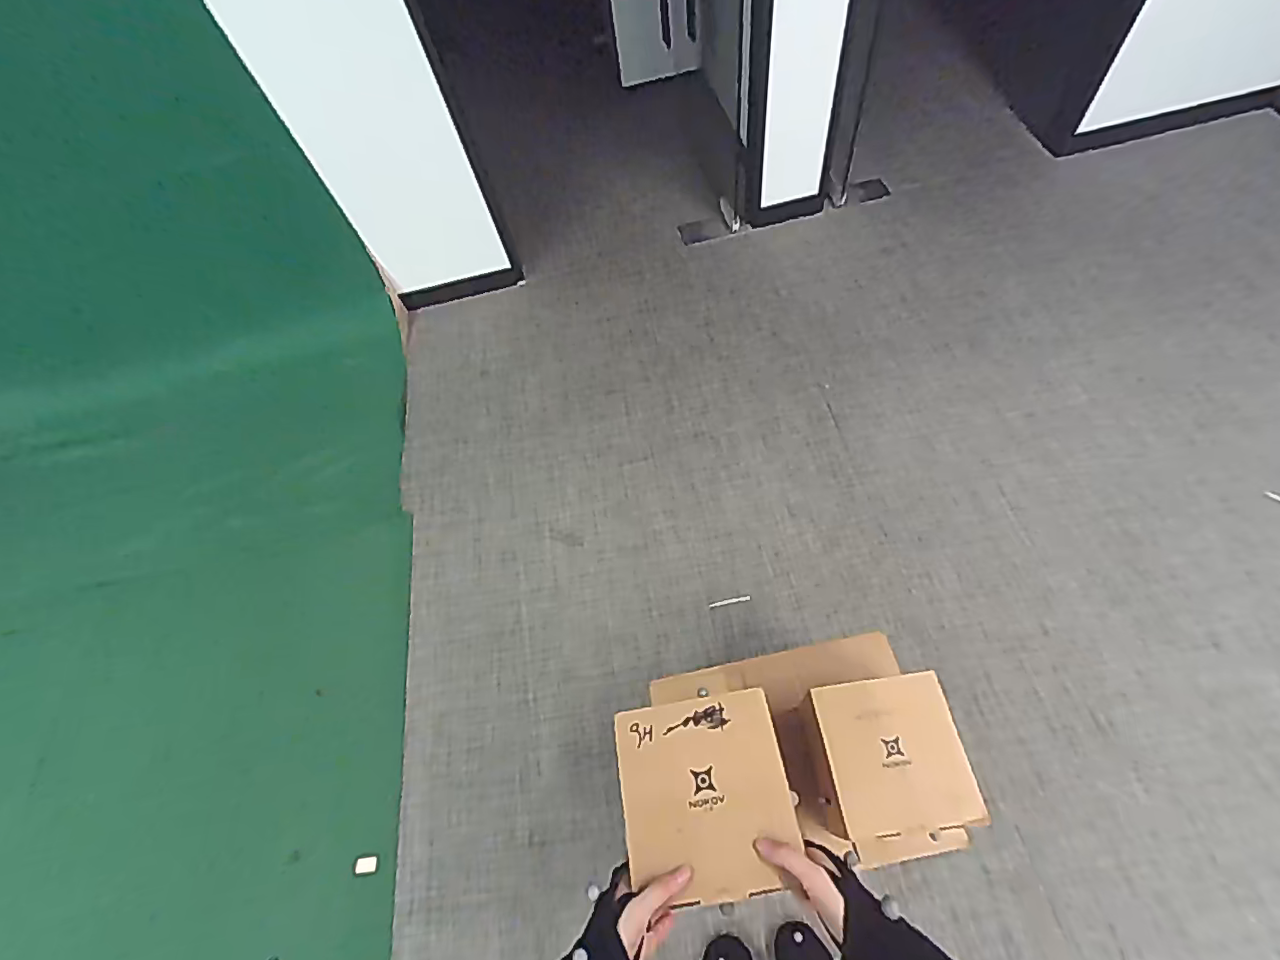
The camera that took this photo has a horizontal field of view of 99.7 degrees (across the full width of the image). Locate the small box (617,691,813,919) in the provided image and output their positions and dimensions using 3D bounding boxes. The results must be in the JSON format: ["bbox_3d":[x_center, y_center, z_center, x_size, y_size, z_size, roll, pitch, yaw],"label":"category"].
[{"bbox_3d":[0.078,0.352,0.596,0.168,0.176,0.179,-11,56,2],"label":"small box"}]

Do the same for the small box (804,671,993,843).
[{"bbox_3d":[0.333,0.376,0.737,0.168,0.176,0.179,-10,58,4],"label":"small box"}]
